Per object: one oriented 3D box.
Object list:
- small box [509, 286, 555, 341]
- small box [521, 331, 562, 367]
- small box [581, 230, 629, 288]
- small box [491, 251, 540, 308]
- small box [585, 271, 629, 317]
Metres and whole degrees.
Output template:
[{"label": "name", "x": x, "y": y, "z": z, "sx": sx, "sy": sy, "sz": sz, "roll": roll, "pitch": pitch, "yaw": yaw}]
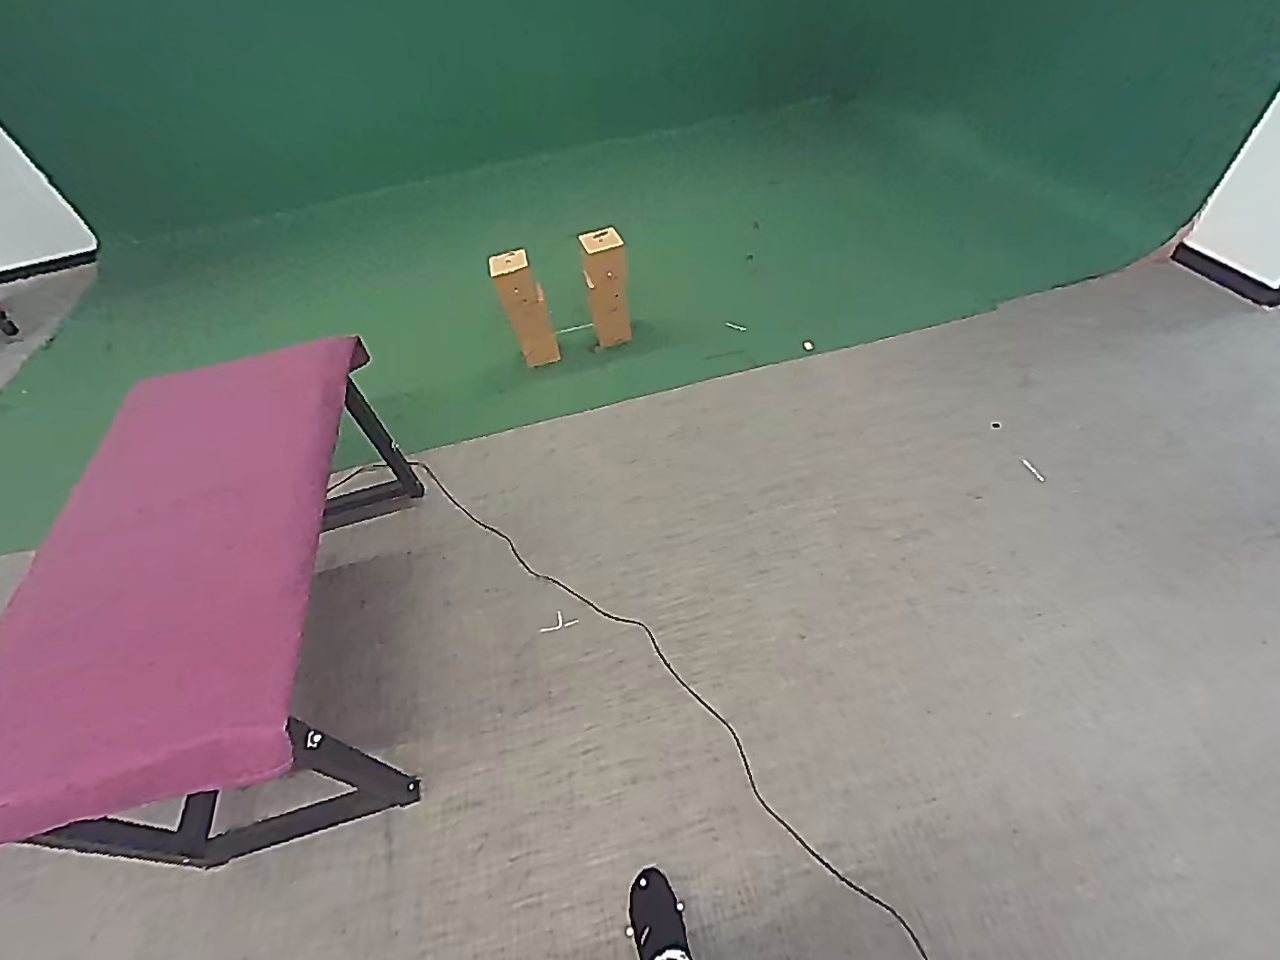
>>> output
[{"label": "small box", "x": -0.513, "y": -0.781, "z": 2.544, "sx": 0.179, "sy": 0.176, "sz": 0.168, "roll": -16, "pitch": 49, "yaw": -4}, {"label": "small box", "x": -0.490, "y": -0.679, "z": 2.671, "sx": 0.168, "sy": 0.176, "sz": 0.179, "roll": -16, "pitch": 49, "yaw": -3}, {"label": "small box", "x": -0.159, "y": -1.003, "z": 2.457, "sx": 0.168, "sy": 0.176, "sz": 0.179, "roll": -19, "pitch": 52, "yaw": -8}, {"label": "small box", "x": -0.556, "y": -0.891, "z": 2.428, "sx": 0.168, "sy": 0.176, "sz": 0.179, "roll": -16, "pitch": 50, "yaw": -2}, {"label": "small box", "x": -0.155, "y": -0.896, "z": 2.581, "sx": 0.168, "sy": 0.176, "sz": 0.179, "roll": -14, "pitch": 50, "yaw": -5}]
